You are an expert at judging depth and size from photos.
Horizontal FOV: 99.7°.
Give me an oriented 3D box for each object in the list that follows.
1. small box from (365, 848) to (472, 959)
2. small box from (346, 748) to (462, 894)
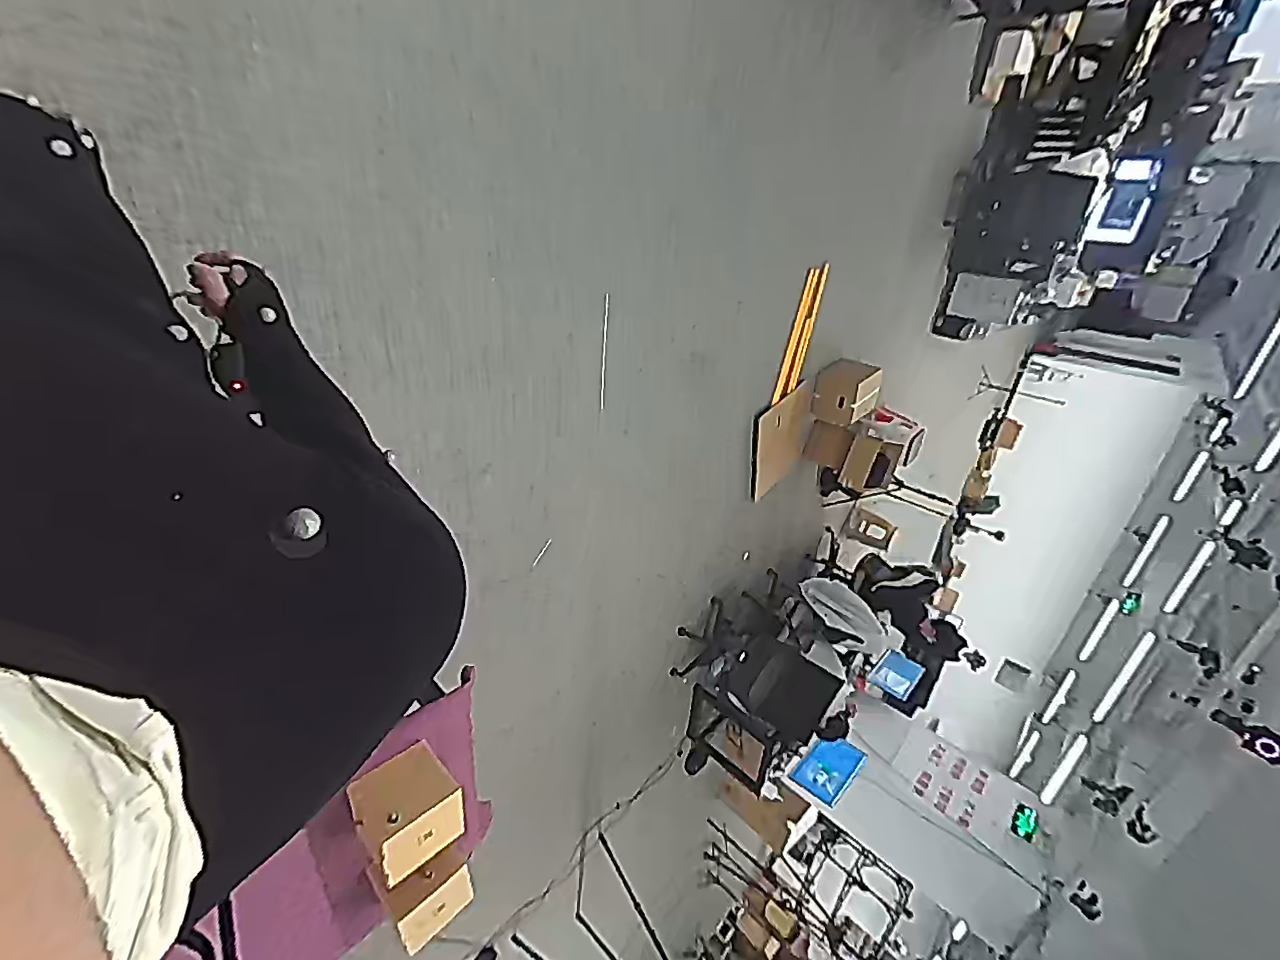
[{"bbox_3d":[-0.538,0.998,1.320,0.179,0.176,0.168,-25,128,-41],"label":"small box"},{"bbox_3d":[-0.516,0.739,1.192,0.179,0.176,0.168,-21,128,-42],"label":"small box"}]
